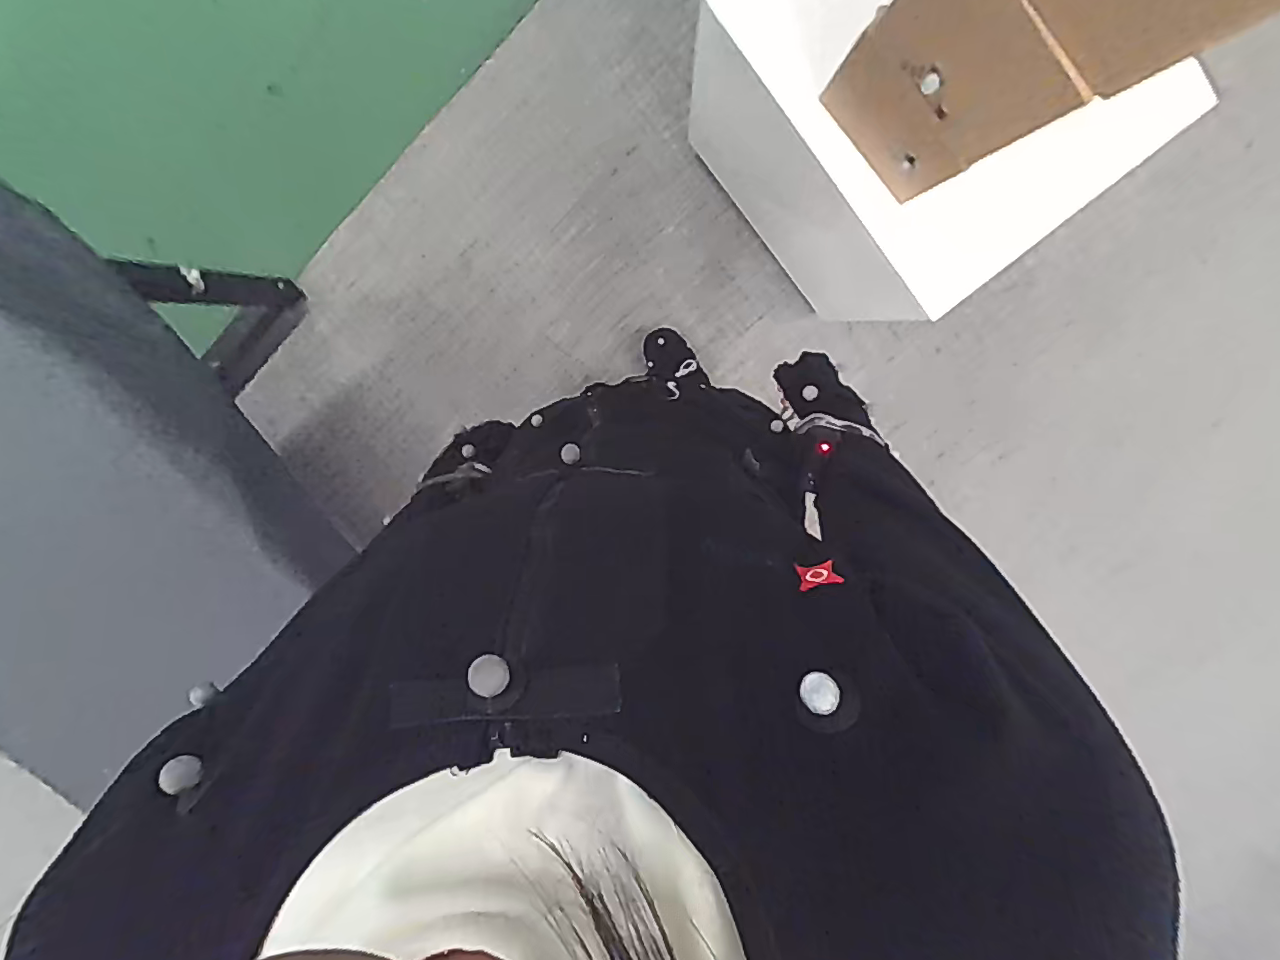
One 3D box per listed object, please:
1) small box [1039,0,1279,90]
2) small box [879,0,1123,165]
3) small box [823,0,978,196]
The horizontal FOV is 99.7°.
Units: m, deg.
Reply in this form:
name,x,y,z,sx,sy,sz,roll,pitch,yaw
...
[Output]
name,x,y,z,sx,sy,sz,roll,pitch,yaw
small box,0.322,-0.356,0.274,0.168,0.176,0.179,-43,99,13
small box,0.333,-0.400,0.431,0.168,0.176,0.179,44,102,-9
small box,0.333,-0.442,0.590,0.168,0.176,0.179,-42,98,12
